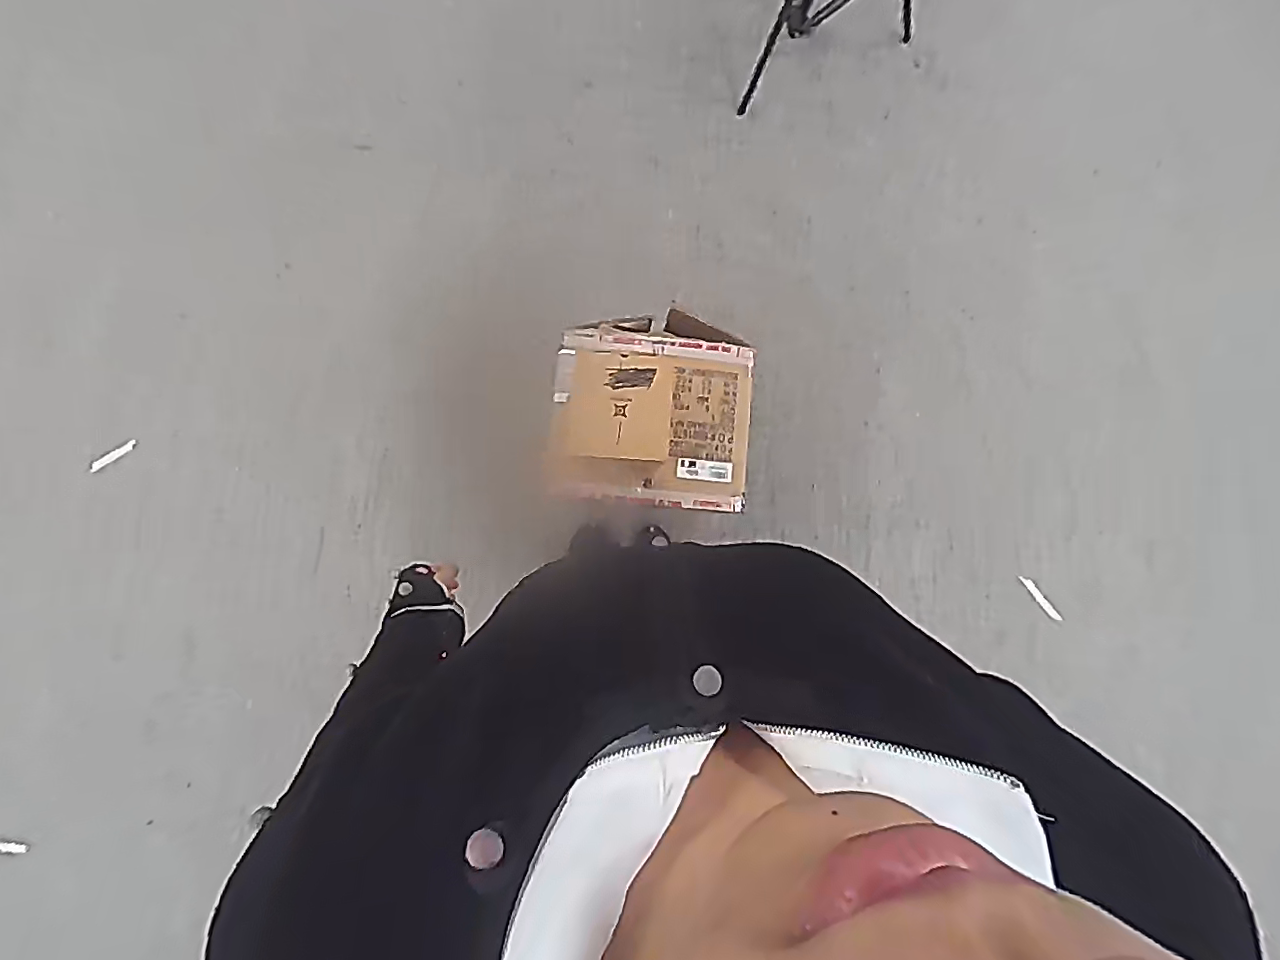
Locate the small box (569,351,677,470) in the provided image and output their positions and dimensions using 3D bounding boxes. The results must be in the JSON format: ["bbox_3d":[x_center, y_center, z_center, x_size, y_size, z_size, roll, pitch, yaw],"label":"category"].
[{"bbox_3d":[-0.031,-0.114,0.955,0.168,0.176,0.179,4,89,-1],"label":"small box"}]
